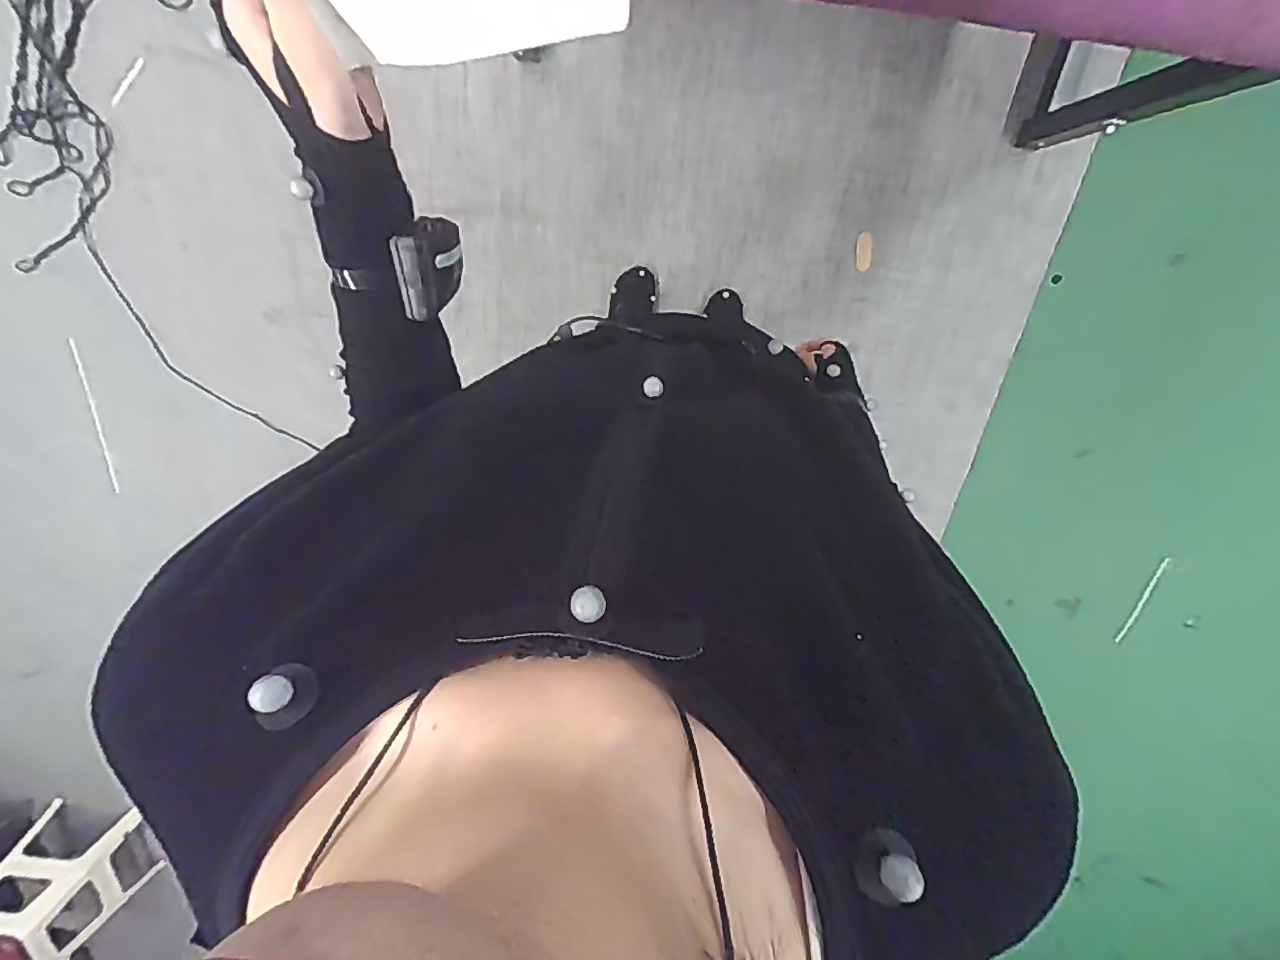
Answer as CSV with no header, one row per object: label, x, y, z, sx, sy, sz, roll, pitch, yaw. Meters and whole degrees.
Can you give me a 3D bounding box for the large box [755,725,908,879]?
large box,0.611,1.052,1.785,0.408,0.320,0.320,-6,112,4
